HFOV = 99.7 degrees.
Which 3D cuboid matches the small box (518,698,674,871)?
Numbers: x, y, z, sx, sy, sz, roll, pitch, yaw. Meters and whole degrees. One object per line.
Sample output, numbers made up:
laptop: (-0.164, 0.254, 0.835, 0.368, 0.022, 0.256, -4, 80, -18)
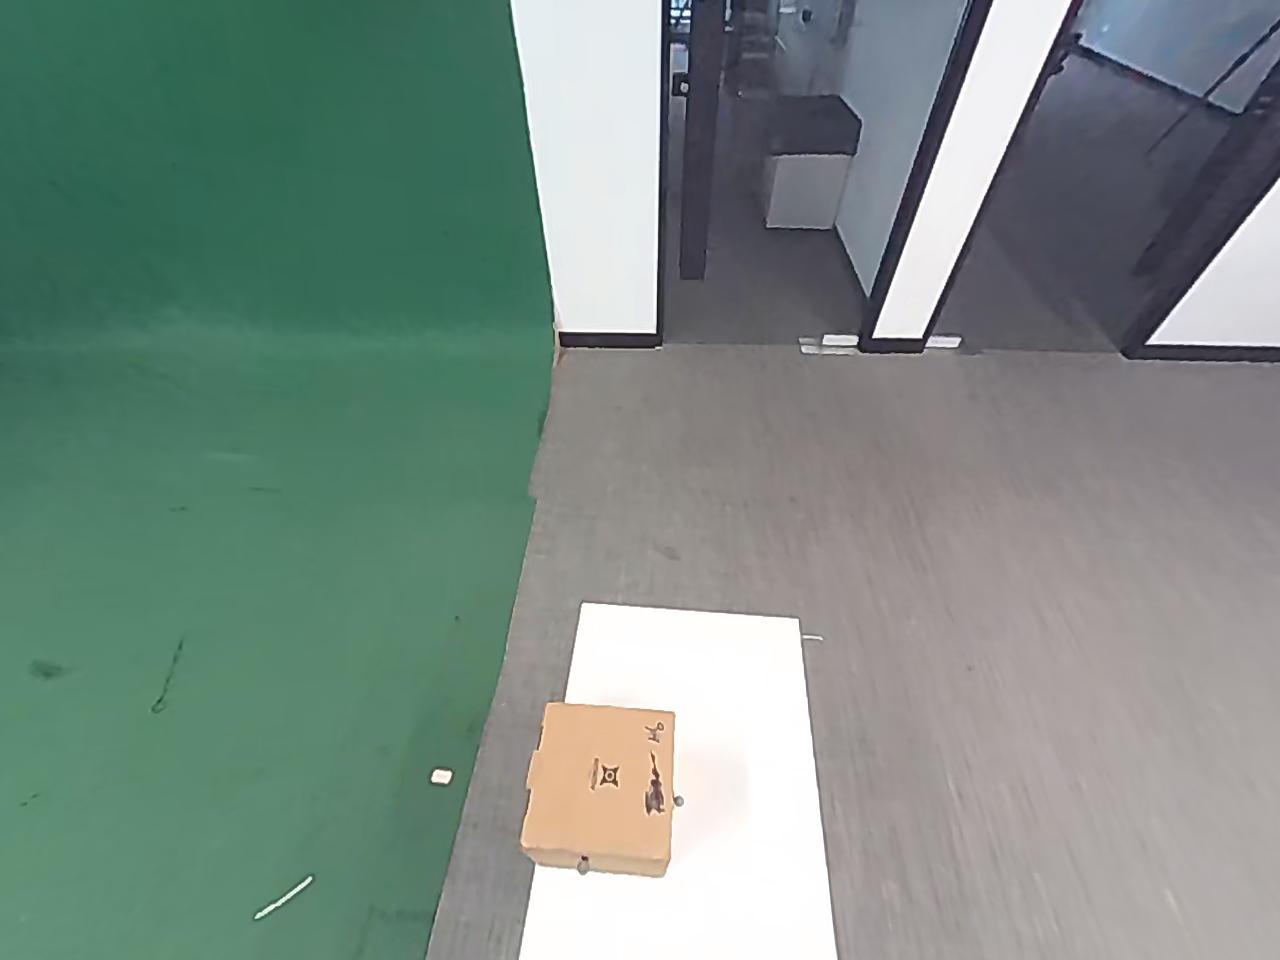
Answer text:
small box: (-0.047, 0.409, 0.722, 0.179, 0.176, 0.168, 3, 49, 3)
